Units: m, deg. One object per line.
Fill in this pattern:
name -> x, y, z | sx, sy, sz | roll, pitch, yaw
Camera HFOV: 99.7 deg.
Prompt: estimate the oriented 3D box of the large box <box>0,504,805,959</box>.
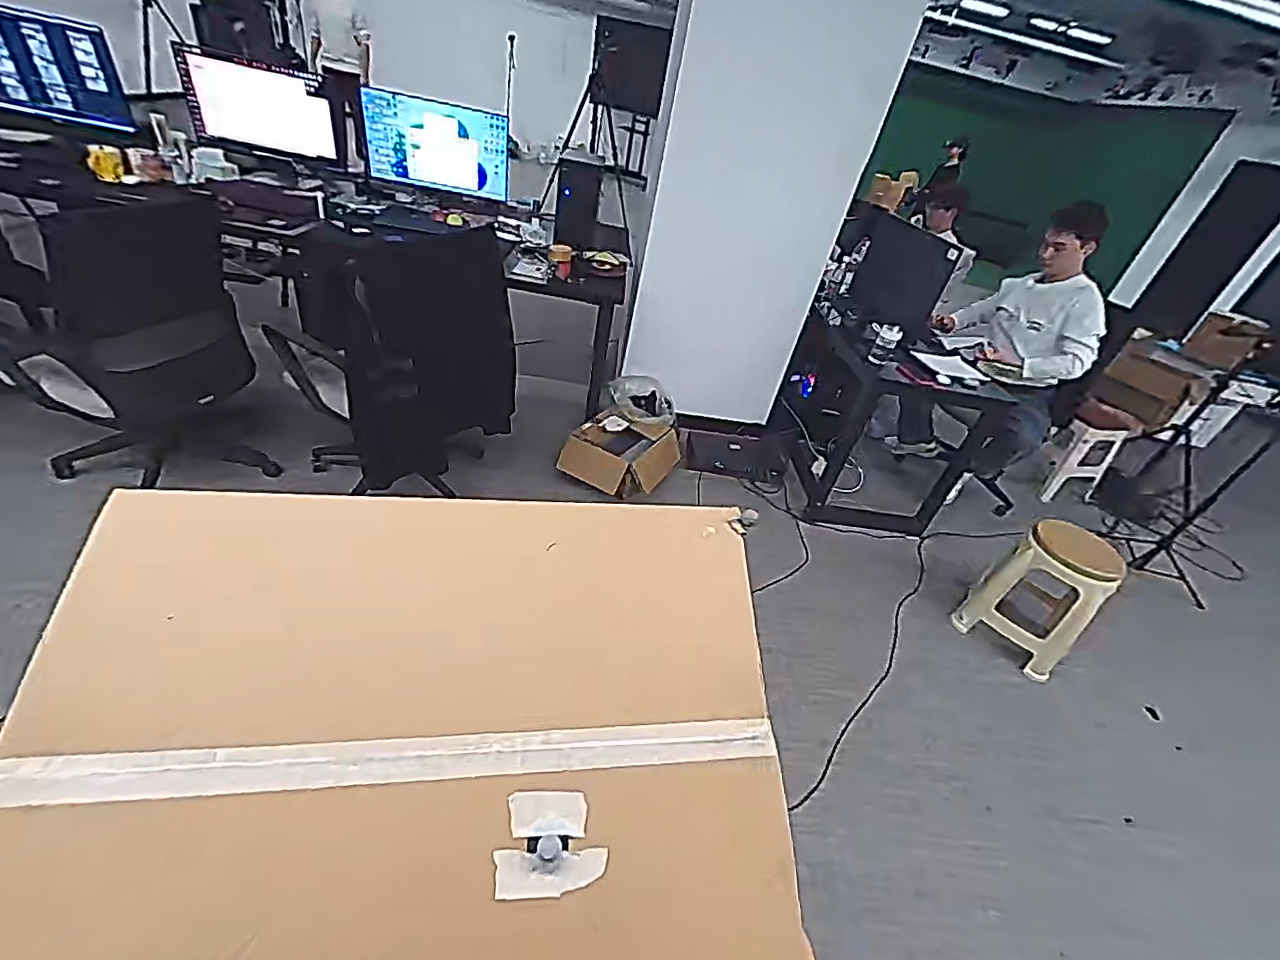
large box -> -0.141, 0.225, 0.436 | 0.408, 0.320, 0.320 | 2, 63, -11
